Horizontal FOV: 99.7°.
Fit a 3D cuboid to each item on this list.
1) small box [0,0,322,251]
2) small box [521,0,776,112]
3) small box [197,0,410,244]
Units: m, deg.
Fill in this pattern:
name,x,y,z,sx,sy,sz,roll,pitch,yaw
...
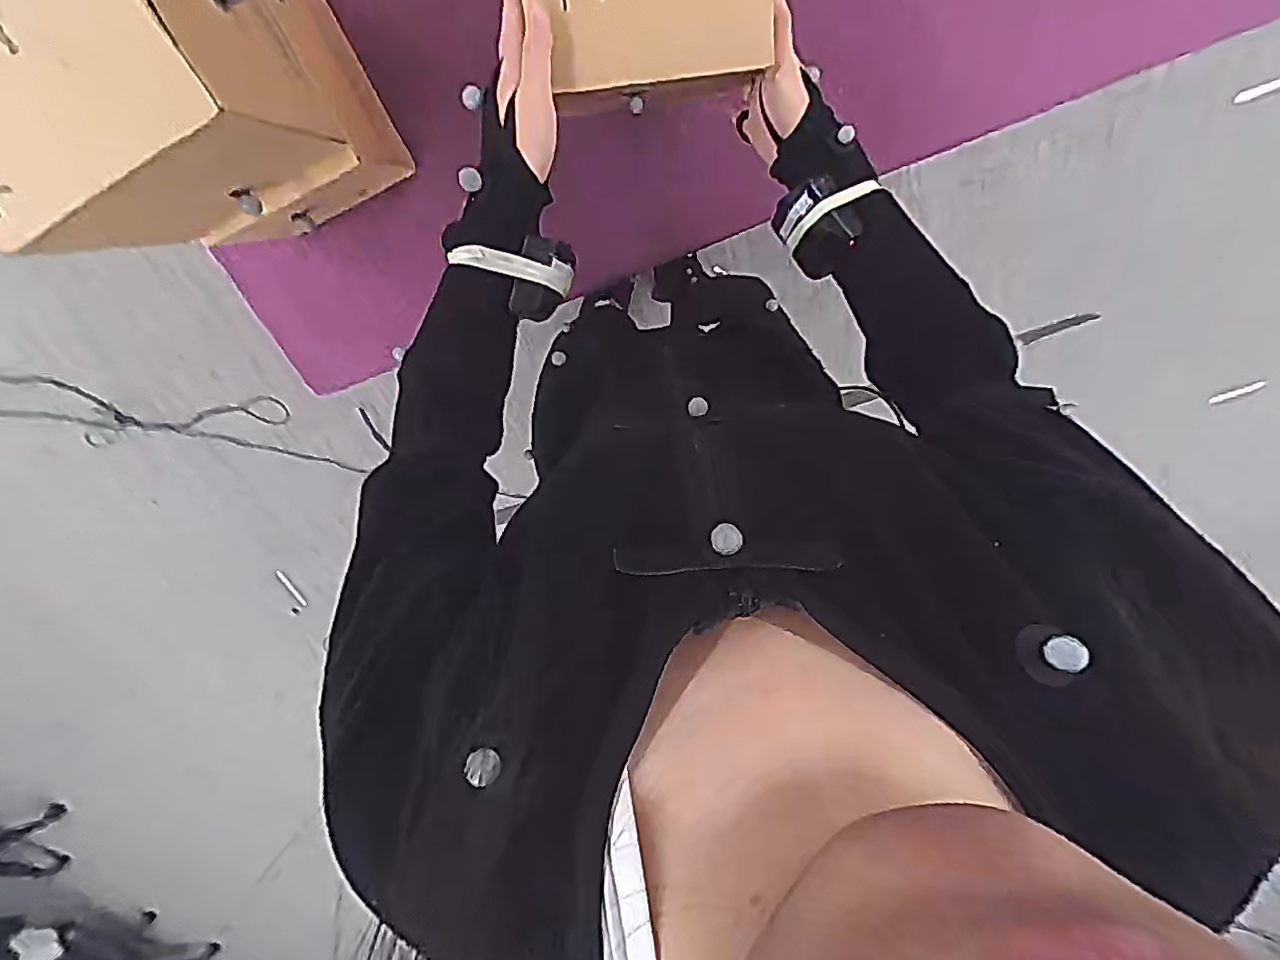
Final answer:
name,x,y,z,sx,sy,sz,roll,pitch,yaw
small box,-0.347,-0.273,0.353,0.179,0.176,0.168,-25,116,8
small box,-0.004,-0.397,0.418,0.179,0.176,0.168,-8,121,-3
small box,-0.348,-0.345,0.500,0.168,0.176,0.179,-23,116,8
